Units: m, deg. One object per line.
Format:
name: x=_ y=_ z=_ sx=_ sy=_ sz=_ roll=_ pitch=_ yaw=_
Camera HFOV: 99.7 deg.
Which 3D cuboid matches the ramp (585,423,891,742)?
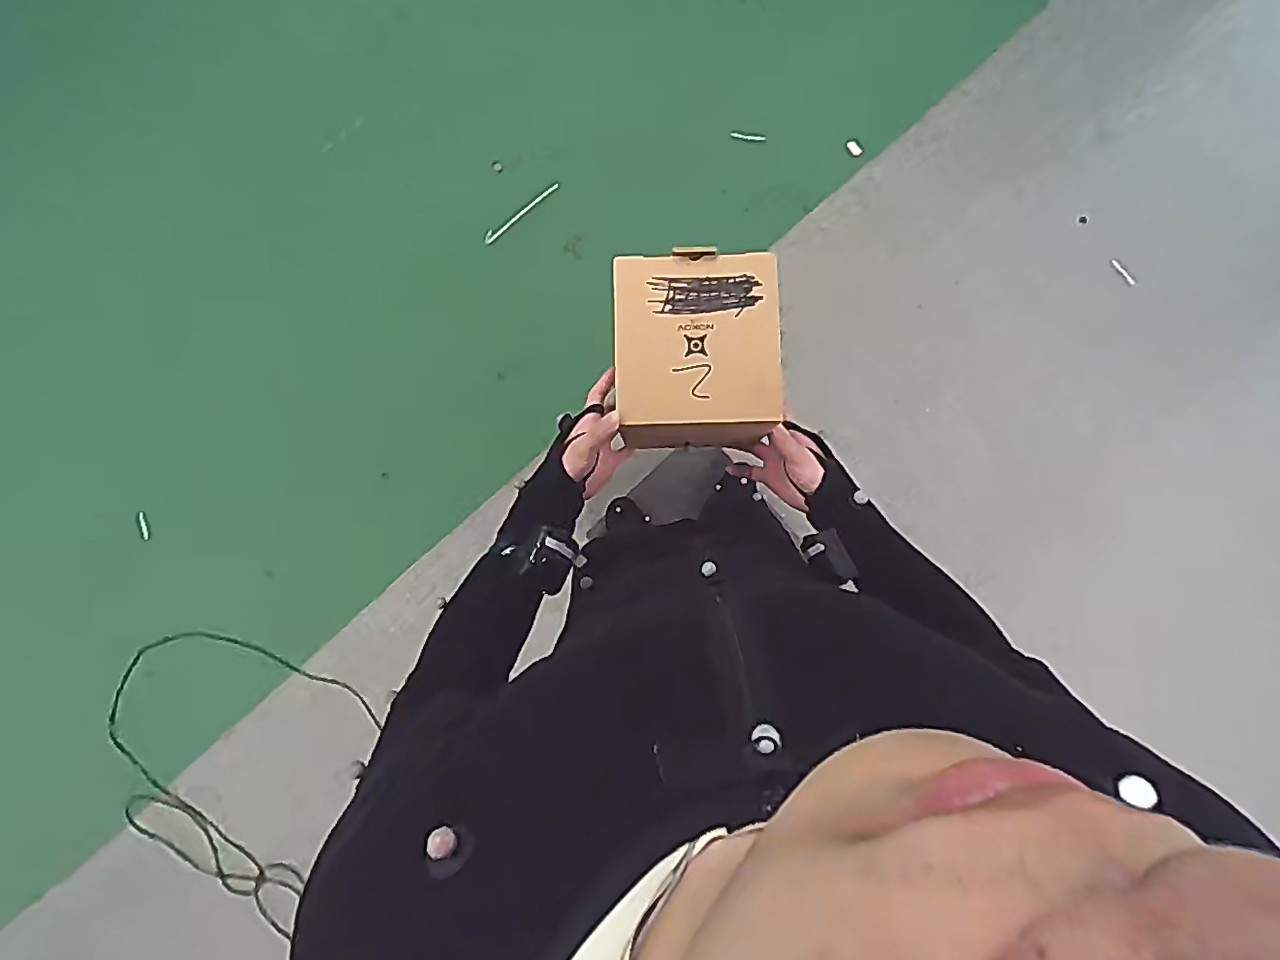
ramp: x=0.339 y=0.343 z=1.704 sx=0.509 sy=0.206 sz=0.991 roll=-45 pitch=90 yaw=-3
